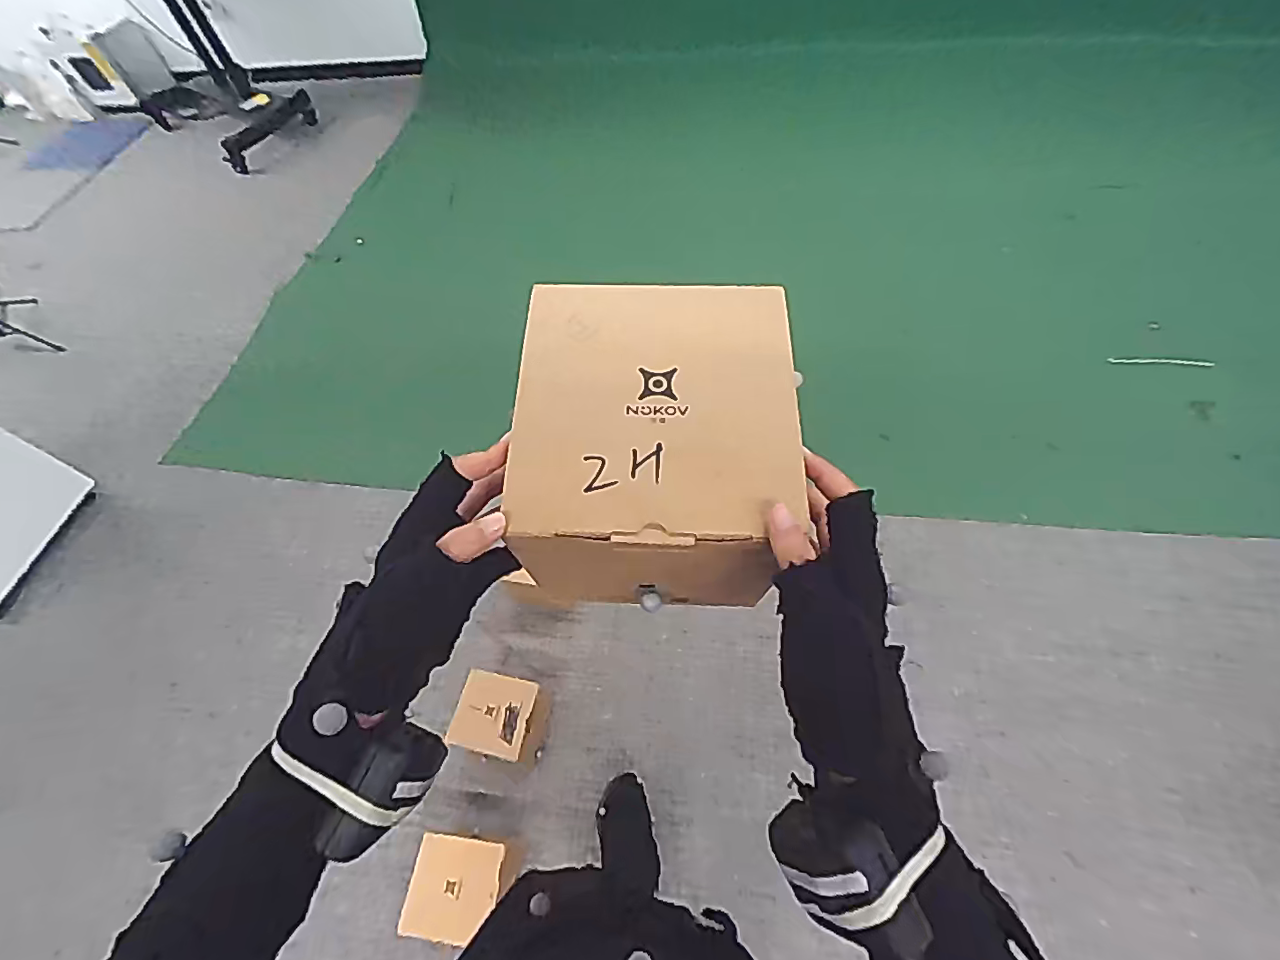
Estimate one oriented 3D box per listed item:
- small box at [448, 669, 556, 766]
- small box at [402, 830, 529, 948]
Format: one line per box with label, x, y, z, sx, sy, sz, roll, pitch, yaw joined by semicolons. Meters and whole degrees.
small box;-0.315;0.565;1.278;0.179;0.176;0.168;8;58;12
small box;-0.347;0.831;1.112;0.179;0.176;0.168;4;58;7
